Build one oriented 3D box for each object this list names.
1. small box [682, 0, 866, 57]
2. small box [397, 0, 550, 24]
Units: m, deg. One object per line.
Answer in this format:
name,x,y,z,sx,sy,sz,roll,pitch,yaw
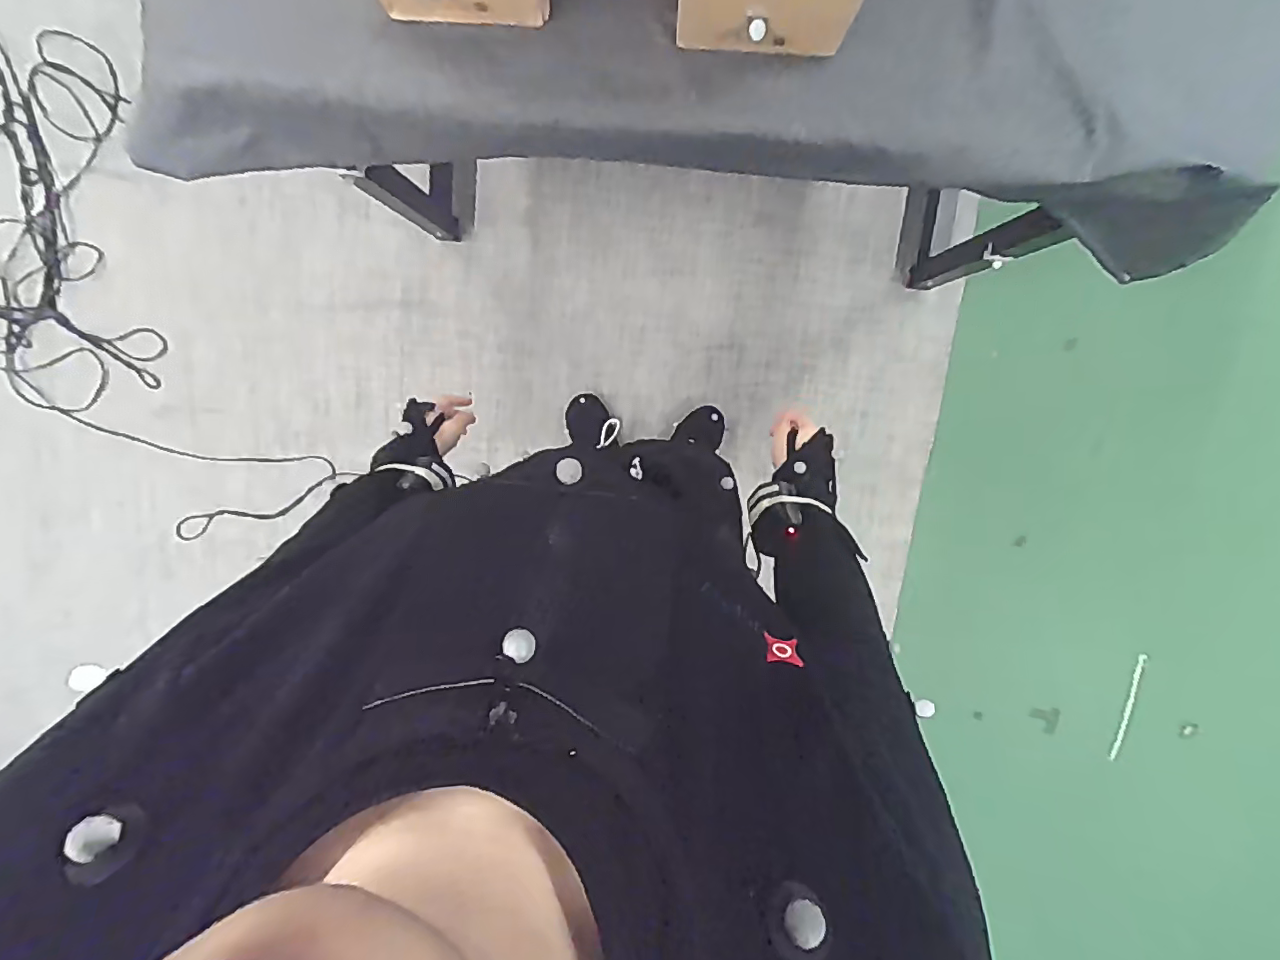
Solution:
small box,0.127,-0.513,0.462,0.168,0.176,0.179,5,100,1
small box,-0.171,-0.550,0.467,0.168,0.176,0.179,3,100,1
